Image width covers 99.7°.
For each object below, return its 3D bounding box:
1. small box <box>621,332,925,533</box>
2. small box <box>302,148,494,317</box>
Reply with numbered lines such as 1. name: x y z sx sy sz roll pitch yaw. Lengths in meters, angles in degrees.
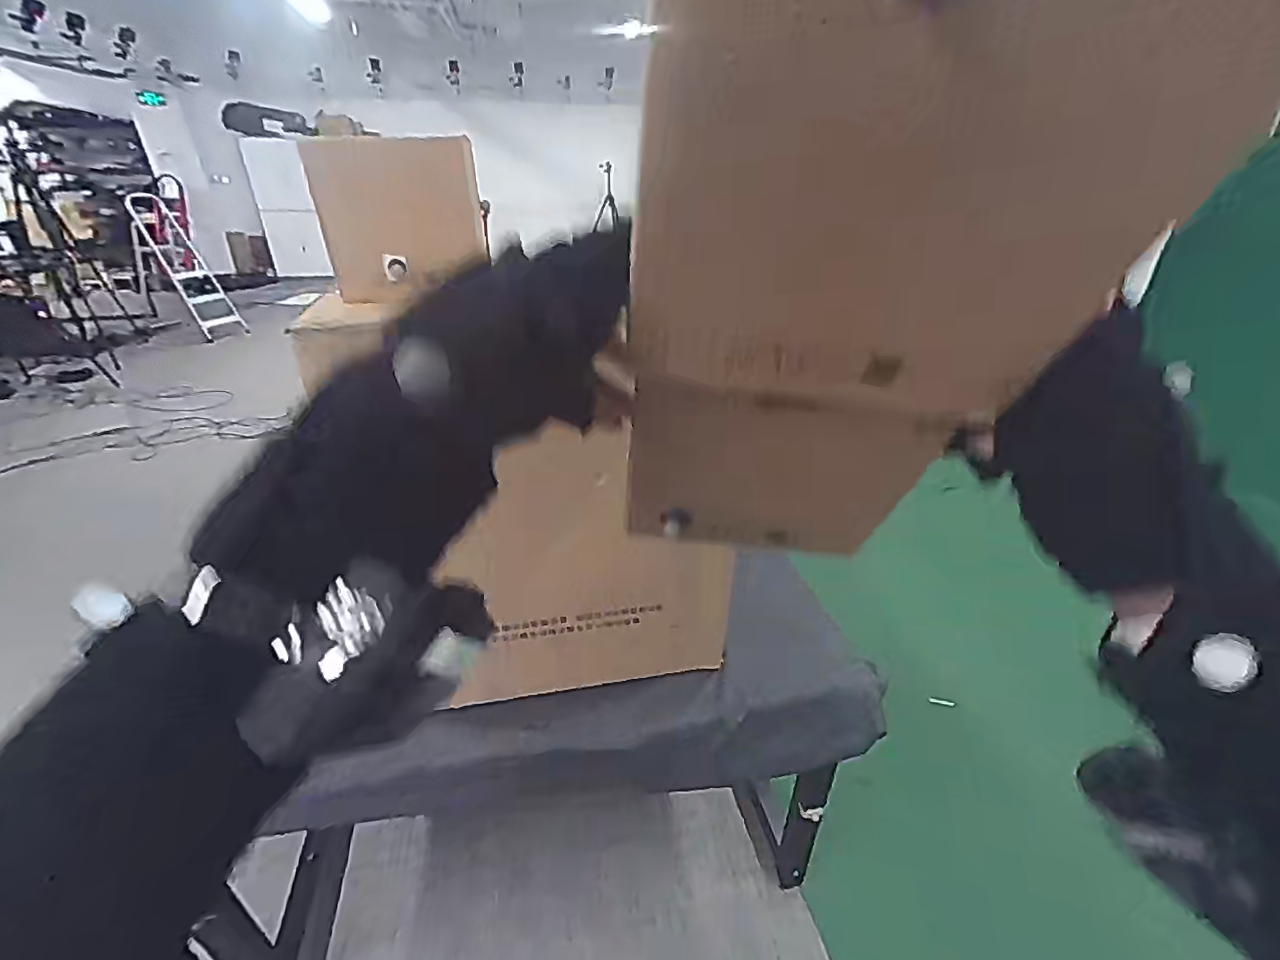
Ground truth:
1. small box: 0.075 -0.080 0.367 0.168 0.176 0.179 4 53 -1
2. small box: -0.282 -0.312 0.674 0.168 0.176 0.179 -9 34 -10
